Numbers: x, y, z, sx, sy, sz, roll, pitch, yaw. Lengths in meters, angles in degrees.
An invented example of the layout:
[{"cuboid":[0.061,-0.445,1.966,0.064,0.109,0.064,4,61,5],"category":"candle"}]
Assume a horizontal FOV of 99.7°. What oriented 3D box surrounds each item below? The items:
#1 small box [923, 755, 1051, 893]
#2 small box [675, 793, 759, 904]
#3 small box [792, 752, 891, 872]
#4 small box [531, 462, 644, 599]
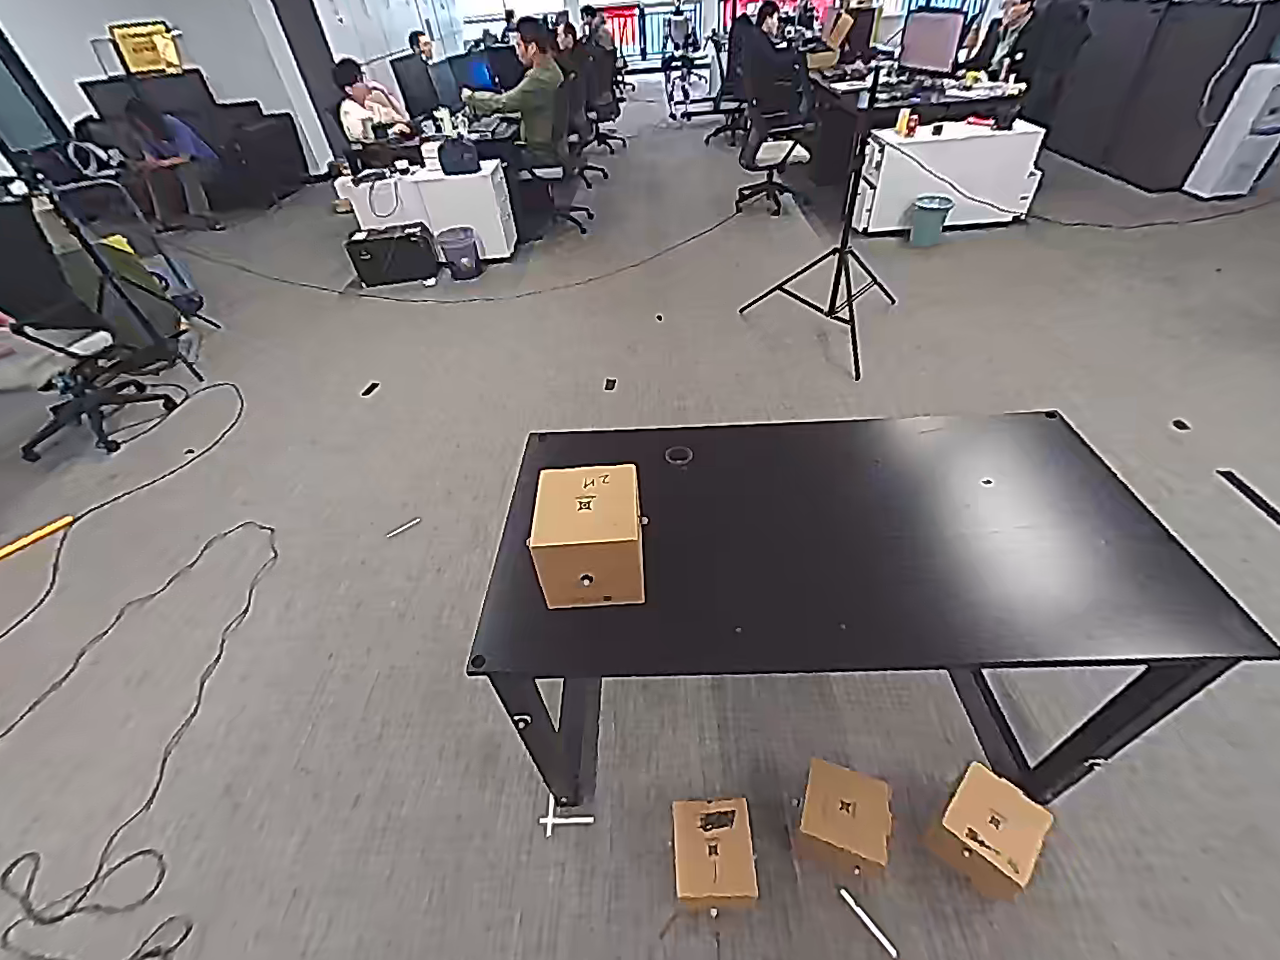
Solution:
[{"cuboid":[0.758,0.760,1.198,0.168,0.176,0.179,31,55,33],"category":"small box"},{"cuboid":[0.163,0.819,1.201,0.168,0.176,0.179,-3,45,3],"category":"small box"},{"cuboid":[0.457,0.761,1.233,0.179,0.176,0.168,12,45,19],"category":"small box"},{"cuboid":[-0.081,0.092,0.930,0.168,0.176,0.179,-4,43,1],"category":"small box"}]
